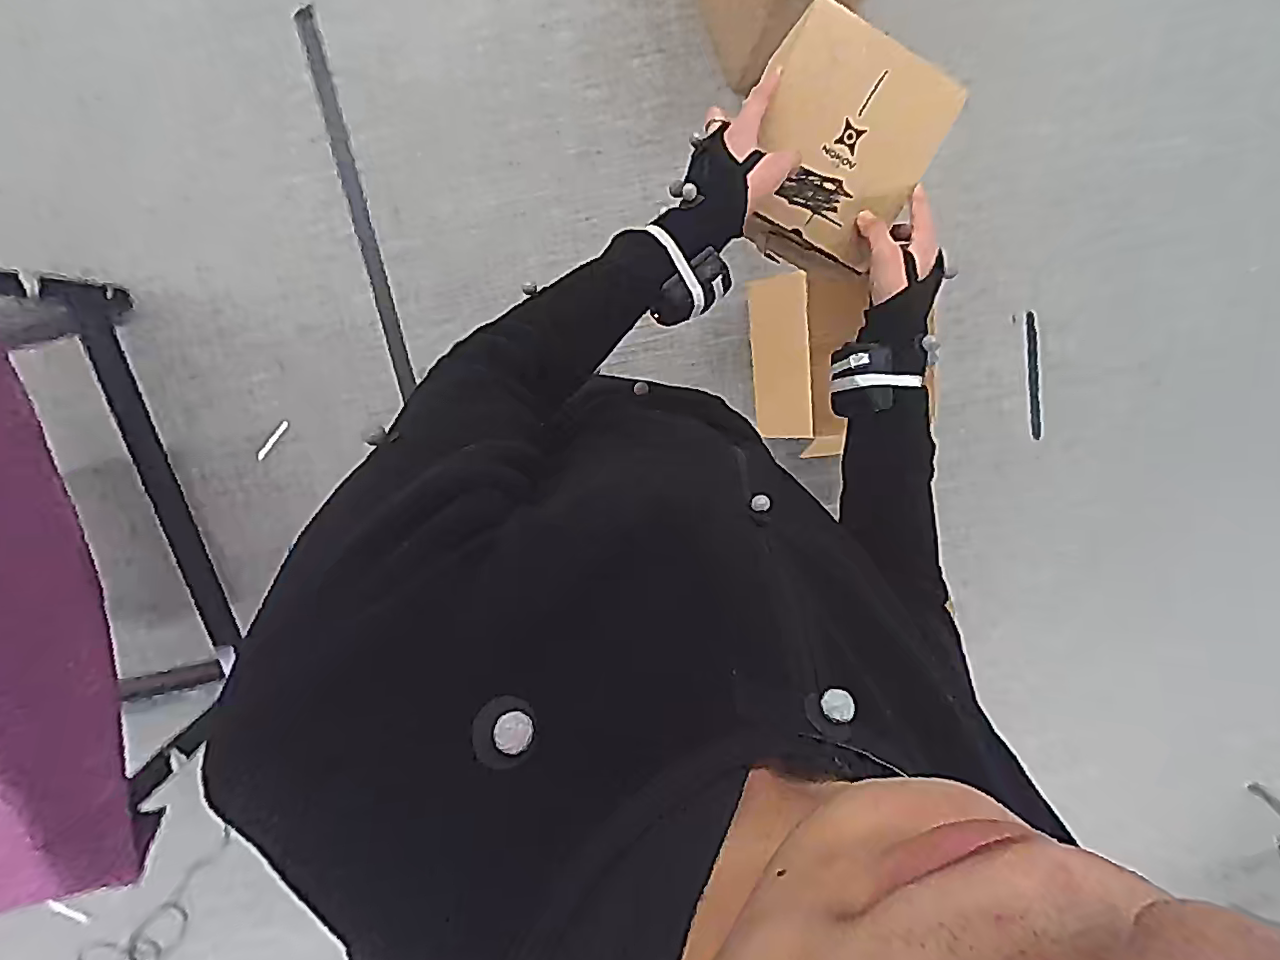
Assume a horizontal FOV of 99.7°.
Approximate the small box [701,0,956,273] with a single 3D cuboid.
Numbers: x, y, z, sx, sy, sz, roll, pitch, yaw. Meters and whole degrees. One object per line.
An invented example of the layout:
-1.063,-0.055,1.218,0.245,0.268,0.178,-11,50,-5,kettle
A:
0.177,-0.338,0.575,0.168,0.176,0.179,23,108,-11,small box
